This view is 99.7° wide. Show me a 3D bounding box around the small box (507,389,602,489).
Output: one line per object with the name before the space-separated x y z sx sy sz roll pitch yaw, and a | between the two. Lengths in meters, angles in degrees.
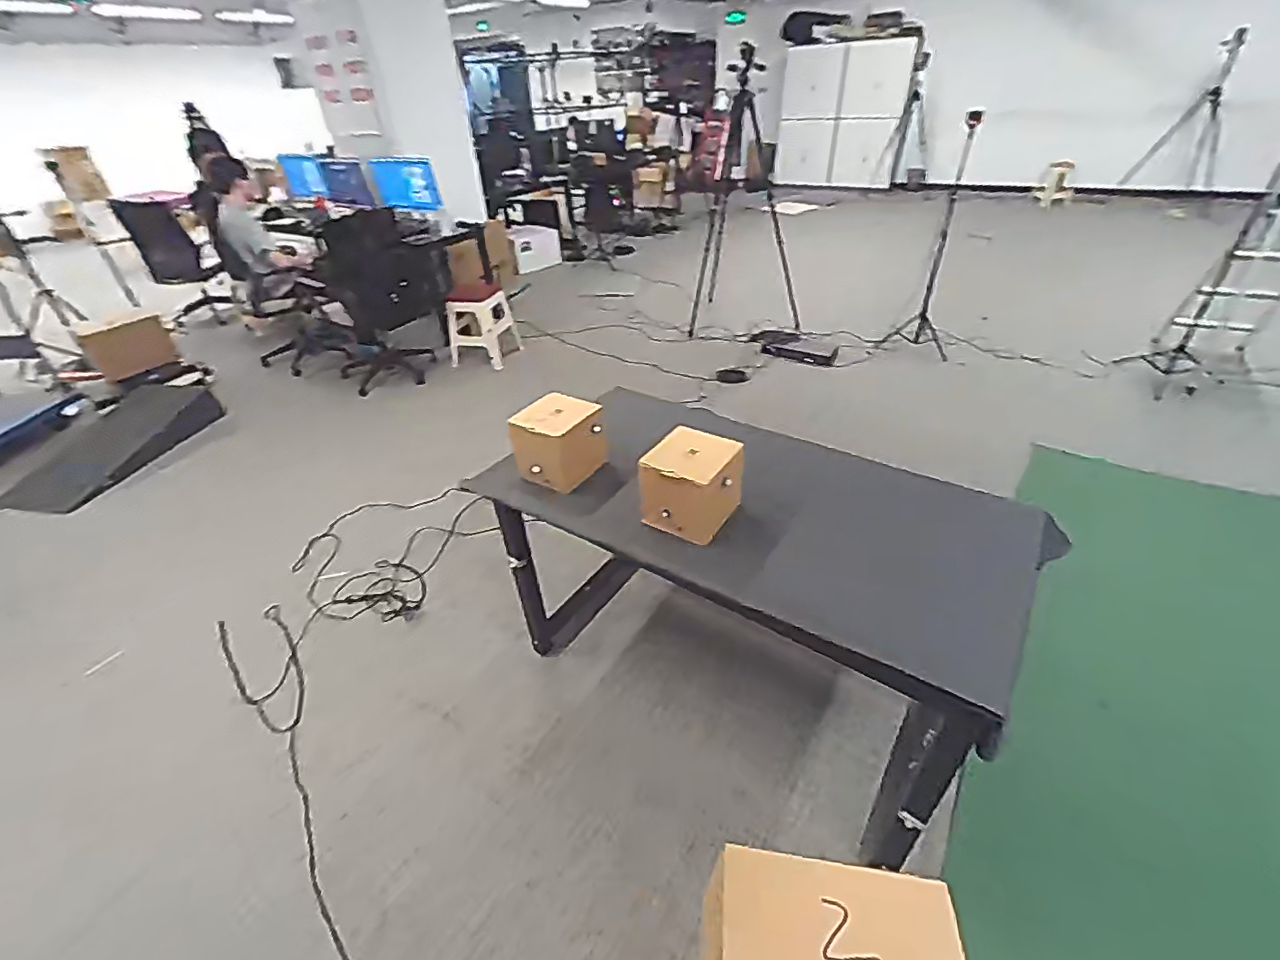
small box | -0.208 -0.105 1.366 0.168 0.176 0.179 19 42 27

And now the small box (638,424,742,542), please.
small box | 0.110 0.005 1.201 0.168 0.176 0.179 20 43 28
